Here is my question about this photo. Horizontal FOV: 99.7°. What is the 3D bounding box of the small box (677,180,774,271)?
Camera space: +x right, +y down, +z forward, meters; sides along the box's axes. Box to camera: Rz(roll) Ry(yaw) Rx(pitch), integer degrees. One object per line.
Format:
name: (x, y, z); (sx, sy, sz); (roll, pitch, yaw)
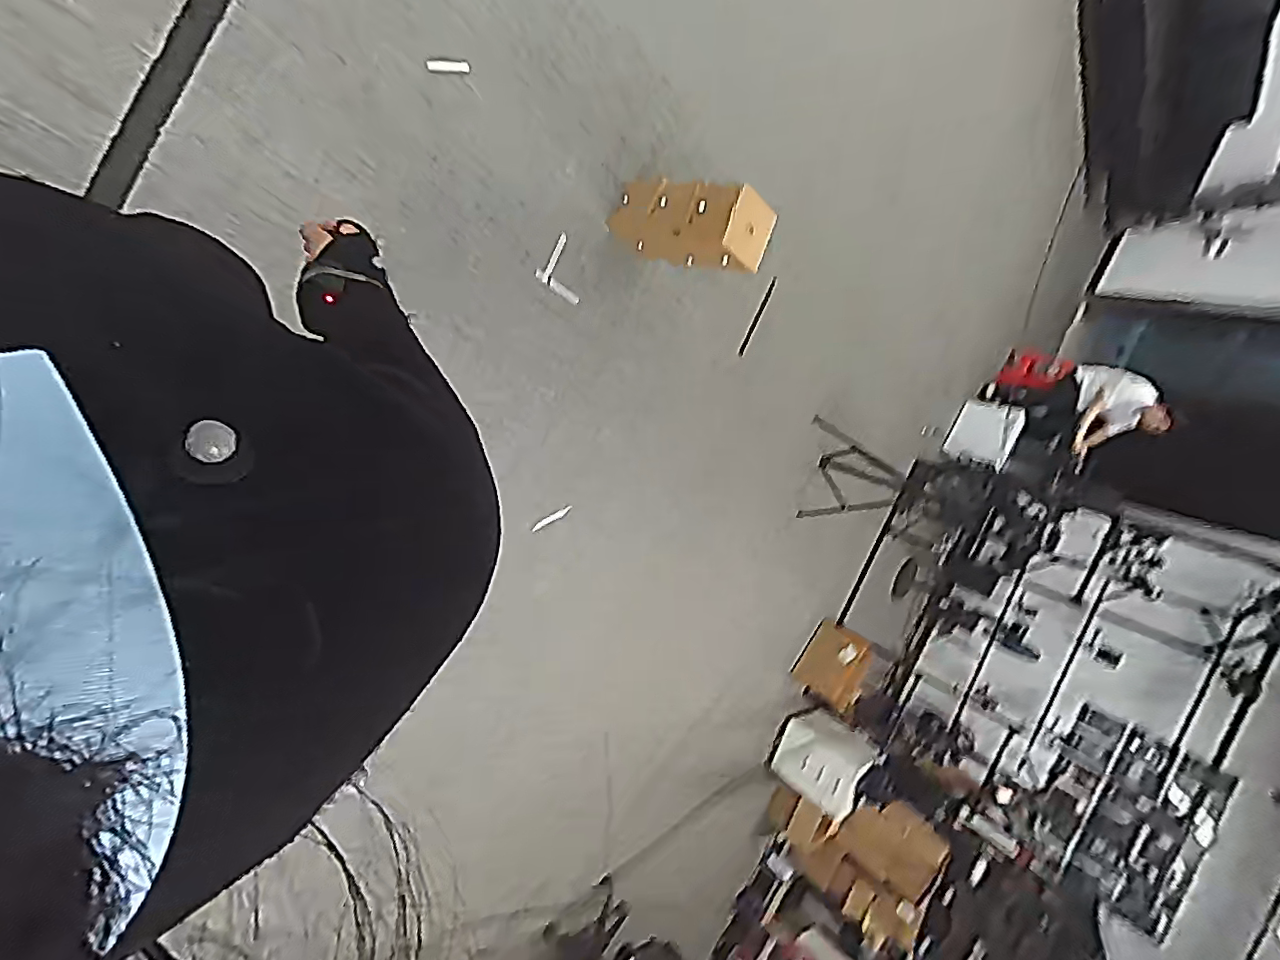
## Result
small box: (0.236, -0.705, 1.503); (0.179, 0.176, 0.168); (16, 97, -46)

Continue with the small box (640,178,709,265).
small box: (0.134, -0.769, 1.613); (0.179, 0.176, 0.168); (32, 84, -46)
